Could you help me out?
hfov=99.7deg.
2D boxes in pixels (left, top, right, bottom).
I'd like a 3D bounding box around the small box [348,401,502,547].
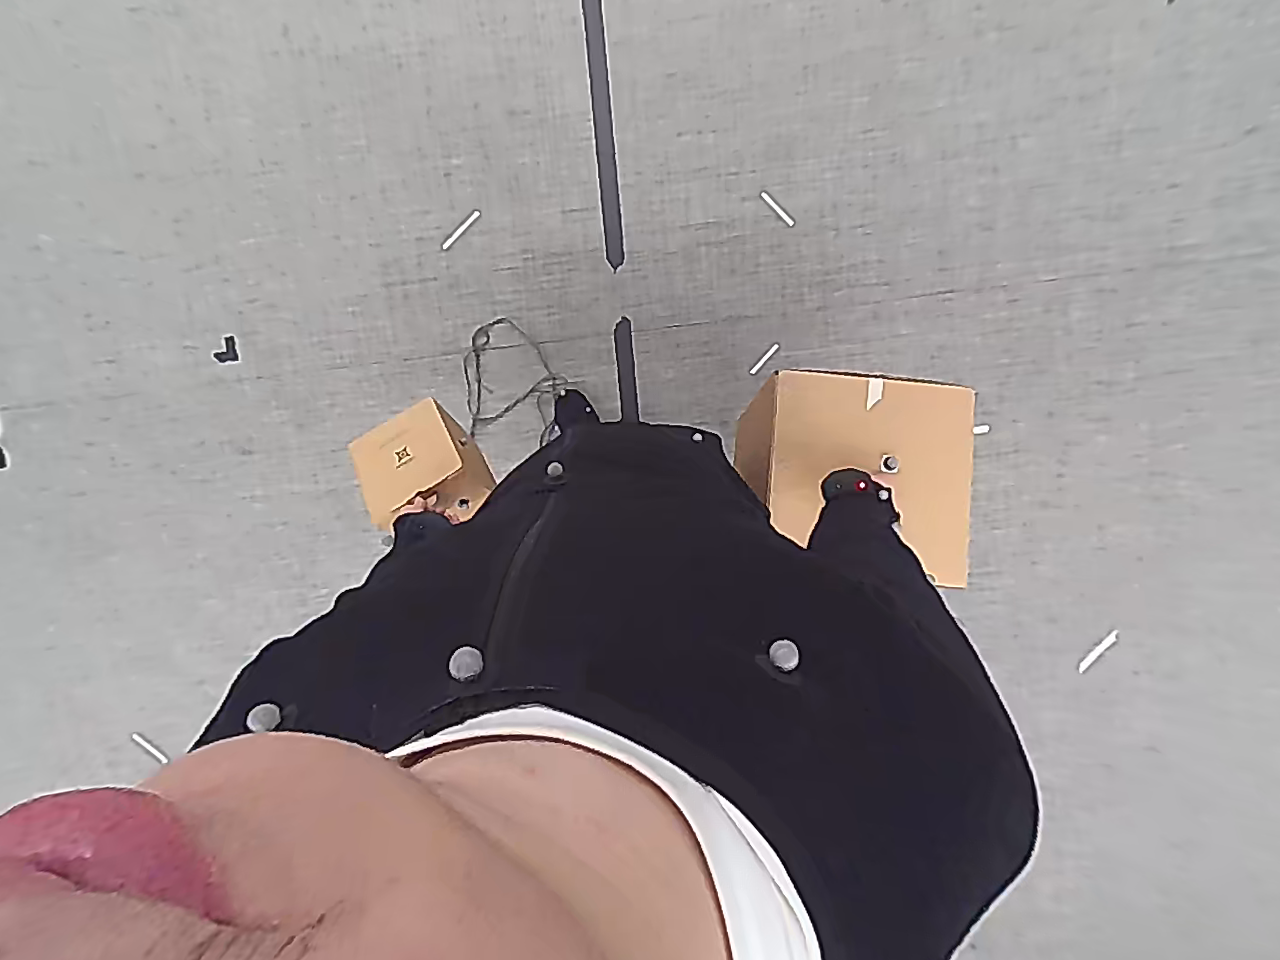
[{"bbox_3d":[-0.371,0.001,0.956,0.168,0.176,0.179,-32,63,-4],"label":"small box"}]
